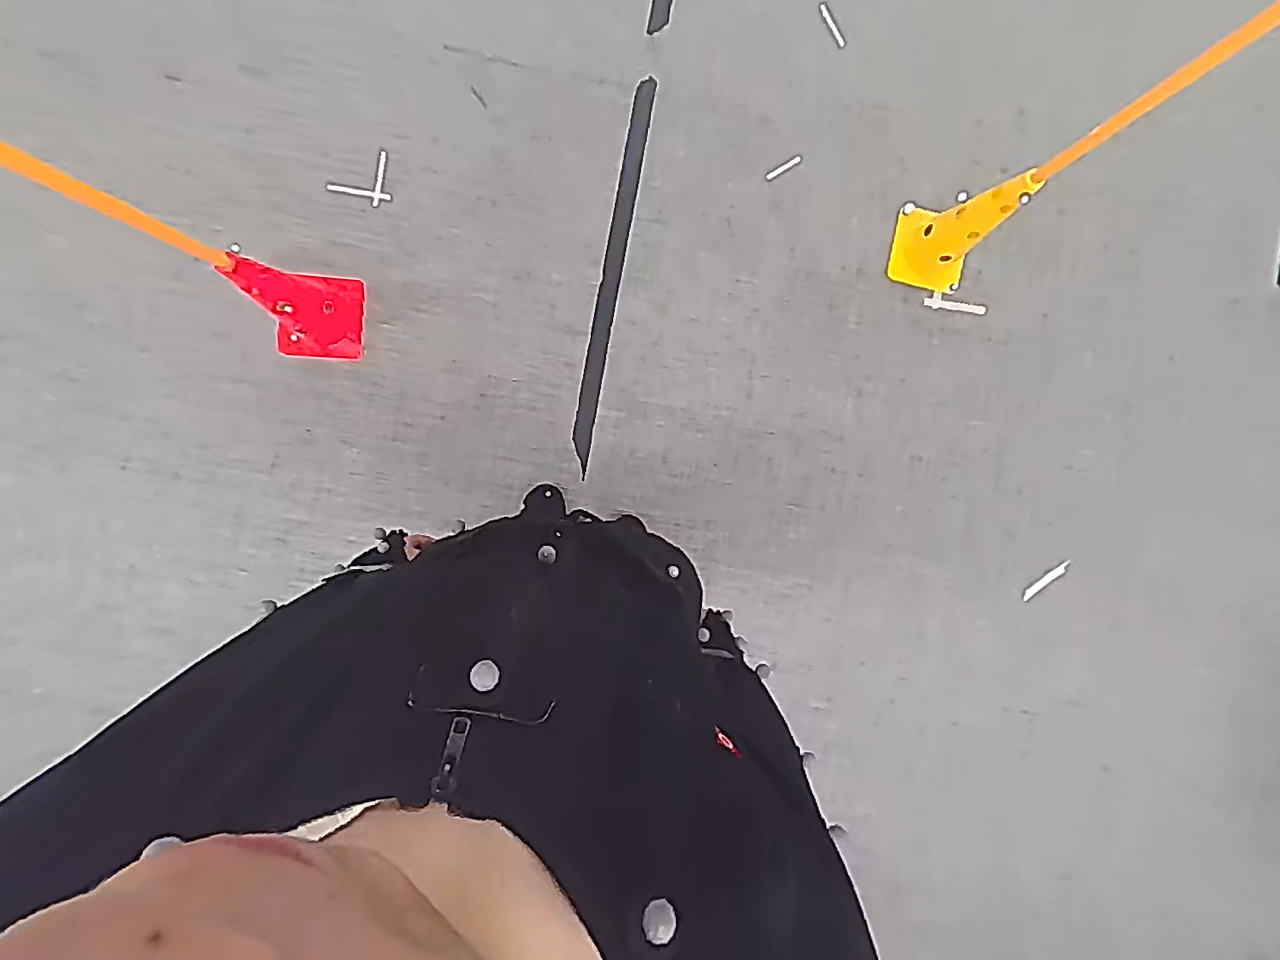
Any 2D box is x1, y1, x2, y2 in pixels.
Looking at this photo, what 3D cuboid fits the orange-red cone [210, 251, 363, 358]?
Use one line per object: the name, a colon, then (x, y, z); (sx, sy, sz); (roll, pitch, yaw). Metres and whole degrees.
orange-red cone: (-0.761, -0.396, 1.136); (0.199, 0.360, 0.198); (5, 91, -6)
